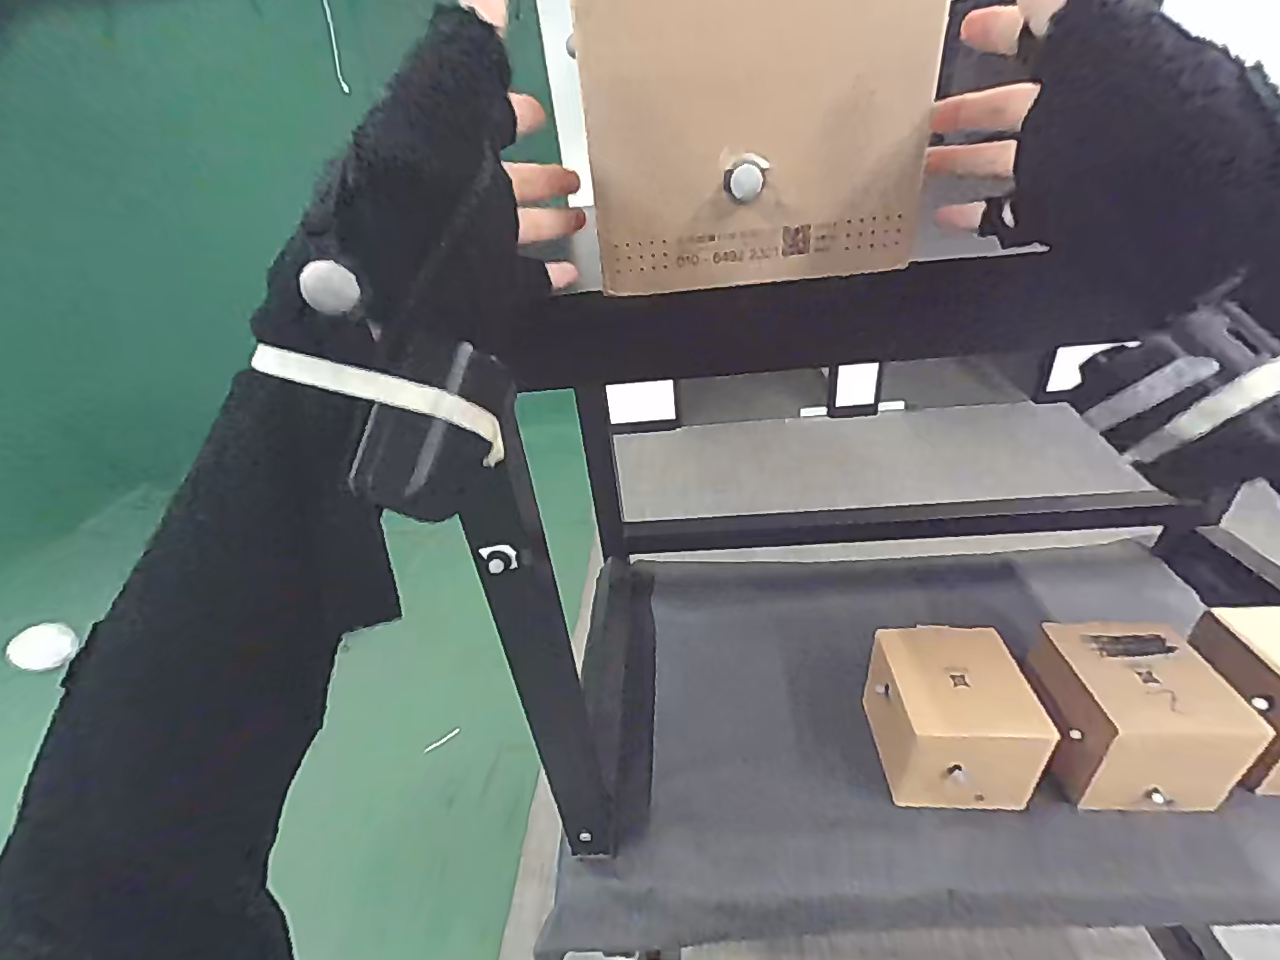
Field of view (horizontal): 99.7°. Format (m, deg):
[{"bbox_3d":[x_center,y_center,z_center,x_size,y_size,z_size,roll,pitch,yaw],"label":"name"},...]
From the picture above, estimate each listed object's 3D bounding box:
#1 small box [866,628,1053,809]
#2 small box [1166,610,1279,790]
[{"bbox_3d":[0.430,0.333,0.762,0.168,0.176,0.179,-3,31,8],"label":"small box"},{"bbox_3d":[0.879,0.296,0.724,0.168,0.176,0.179,-2,31,9],"label":"small box"}]
